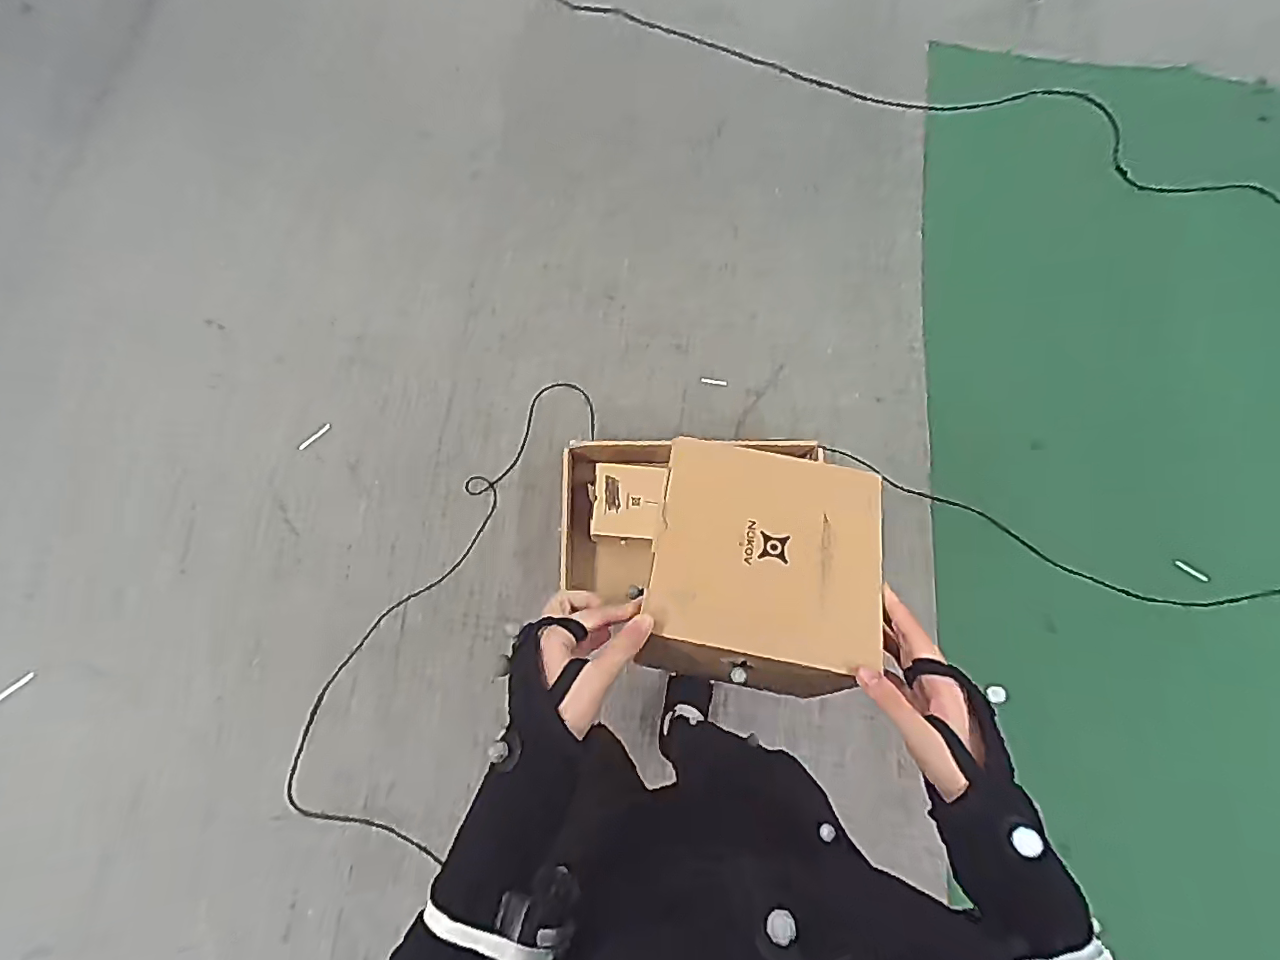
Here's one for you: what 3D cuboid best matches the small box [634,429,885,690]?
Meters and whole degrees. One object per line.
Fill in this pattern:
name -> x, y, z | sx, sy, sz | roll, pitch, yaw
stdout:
small box -> 0.095, 0.080, 0.480 | 0.179, 0.176, 0.168 | 12, 63, 2
